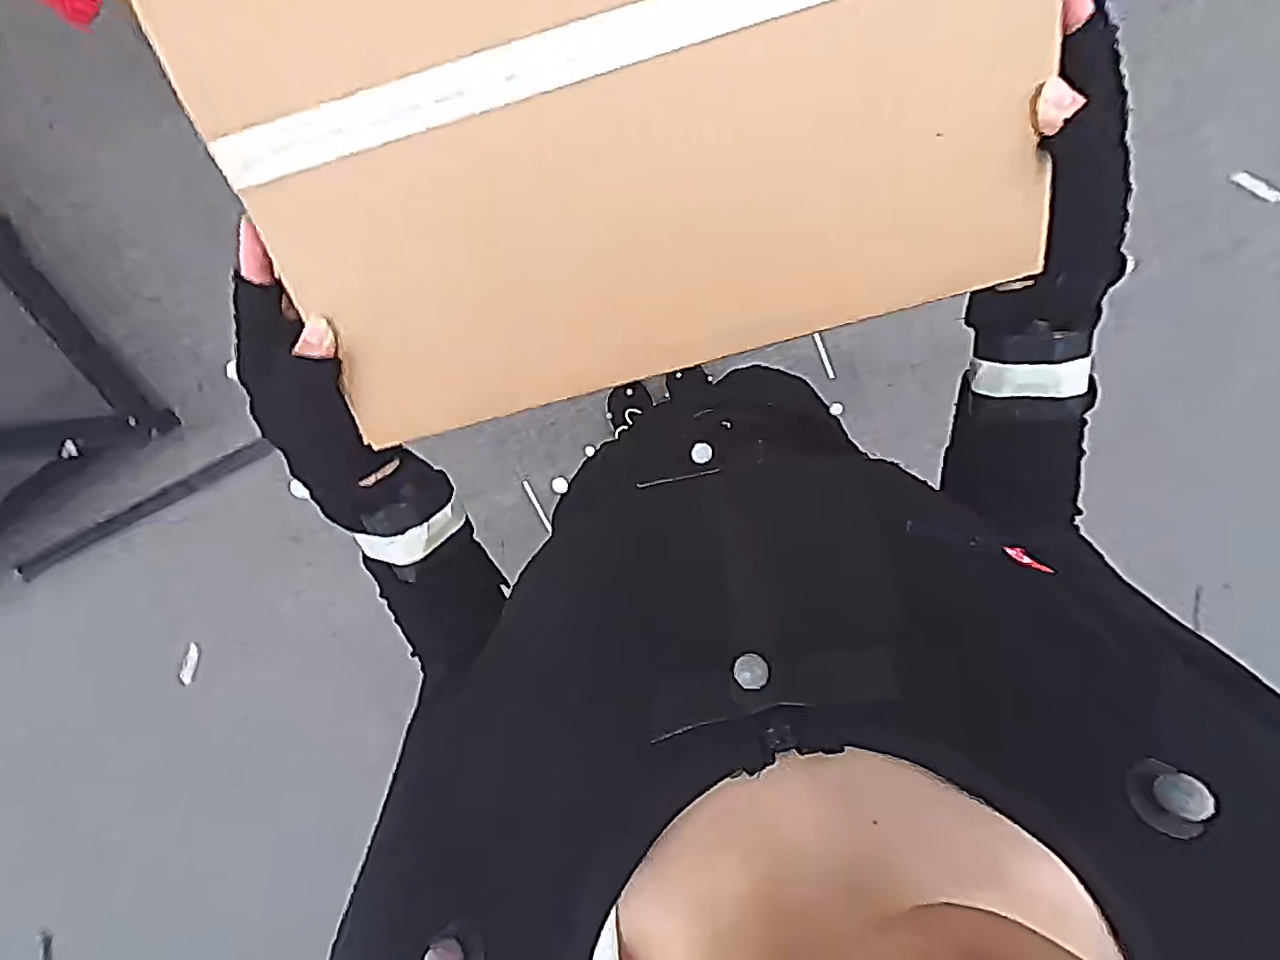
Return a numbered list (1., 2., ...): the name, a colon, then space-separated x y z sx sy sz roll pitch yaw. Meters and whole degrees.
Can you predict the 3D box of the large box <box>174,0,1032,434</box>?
1. large box: -0.015 -0.271 0.403 0.408 0.320 0.320 -14 115 4
